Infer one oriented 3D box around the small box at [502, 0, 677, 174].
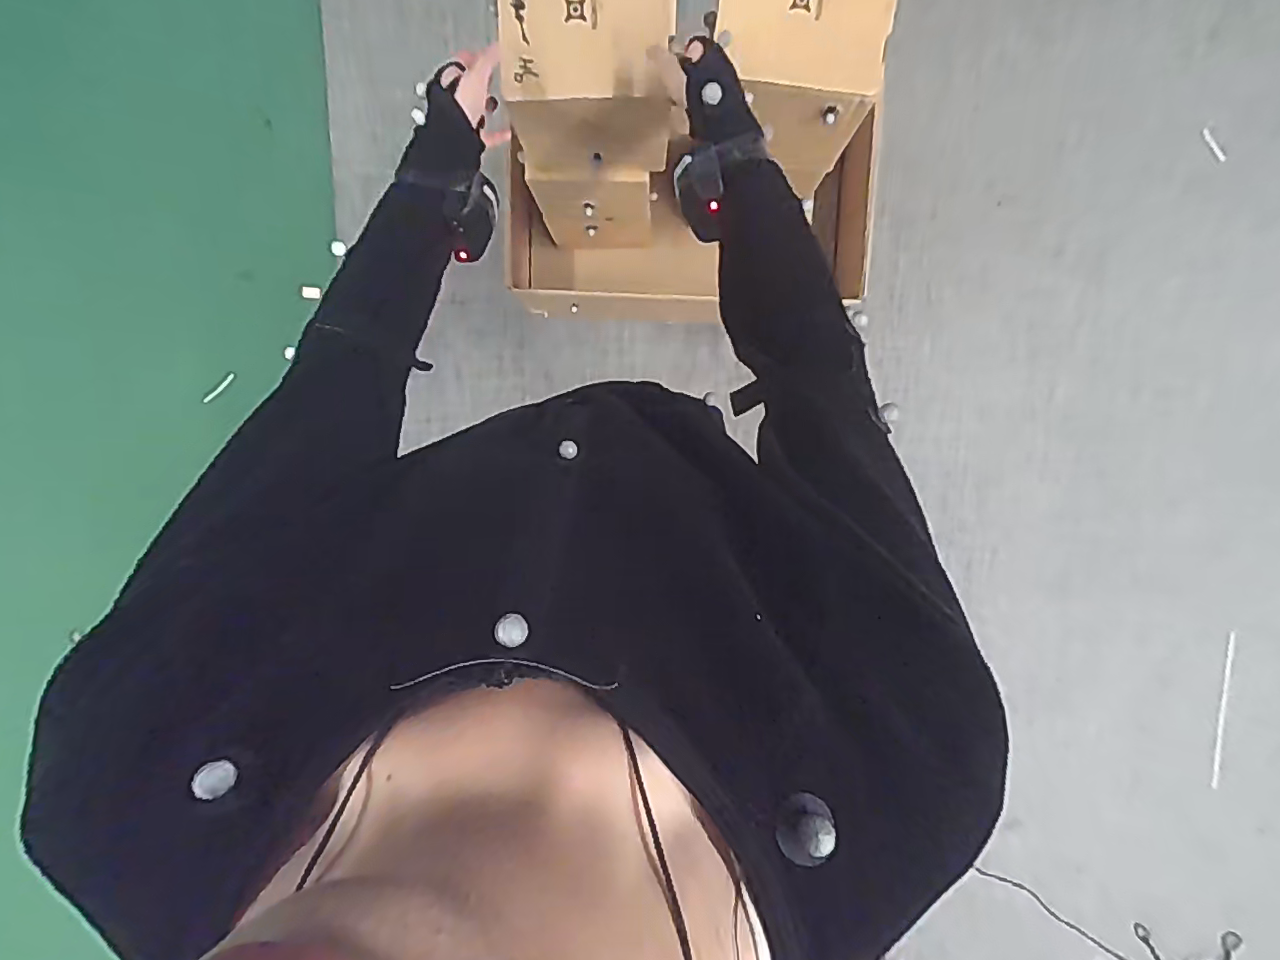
[{"bbox_3d":[-0.052,-0.471,0.618,0.179,0.176,0.168,0,97,0],"label":"small box"}]
